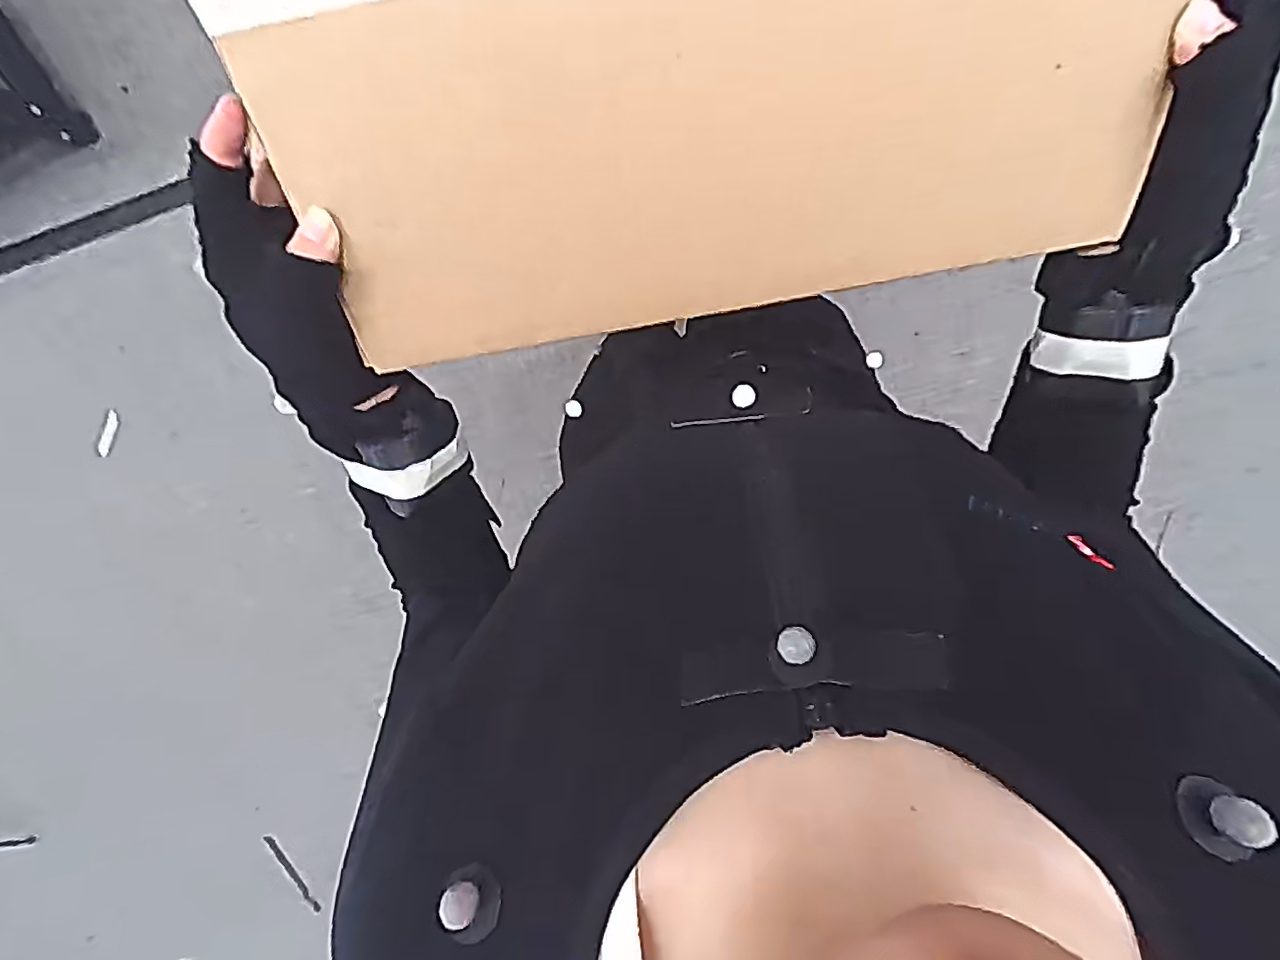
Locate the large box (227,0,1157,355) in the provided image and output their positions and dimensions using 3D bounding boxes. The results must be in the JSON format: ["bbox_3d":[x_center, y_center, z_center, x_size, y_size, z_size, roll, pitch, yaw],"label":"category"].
[{"bbox_3d":[0.013,-0.311,0.339,0.408,0.320,0.320,-10,125,2],"label":"large box"}]
